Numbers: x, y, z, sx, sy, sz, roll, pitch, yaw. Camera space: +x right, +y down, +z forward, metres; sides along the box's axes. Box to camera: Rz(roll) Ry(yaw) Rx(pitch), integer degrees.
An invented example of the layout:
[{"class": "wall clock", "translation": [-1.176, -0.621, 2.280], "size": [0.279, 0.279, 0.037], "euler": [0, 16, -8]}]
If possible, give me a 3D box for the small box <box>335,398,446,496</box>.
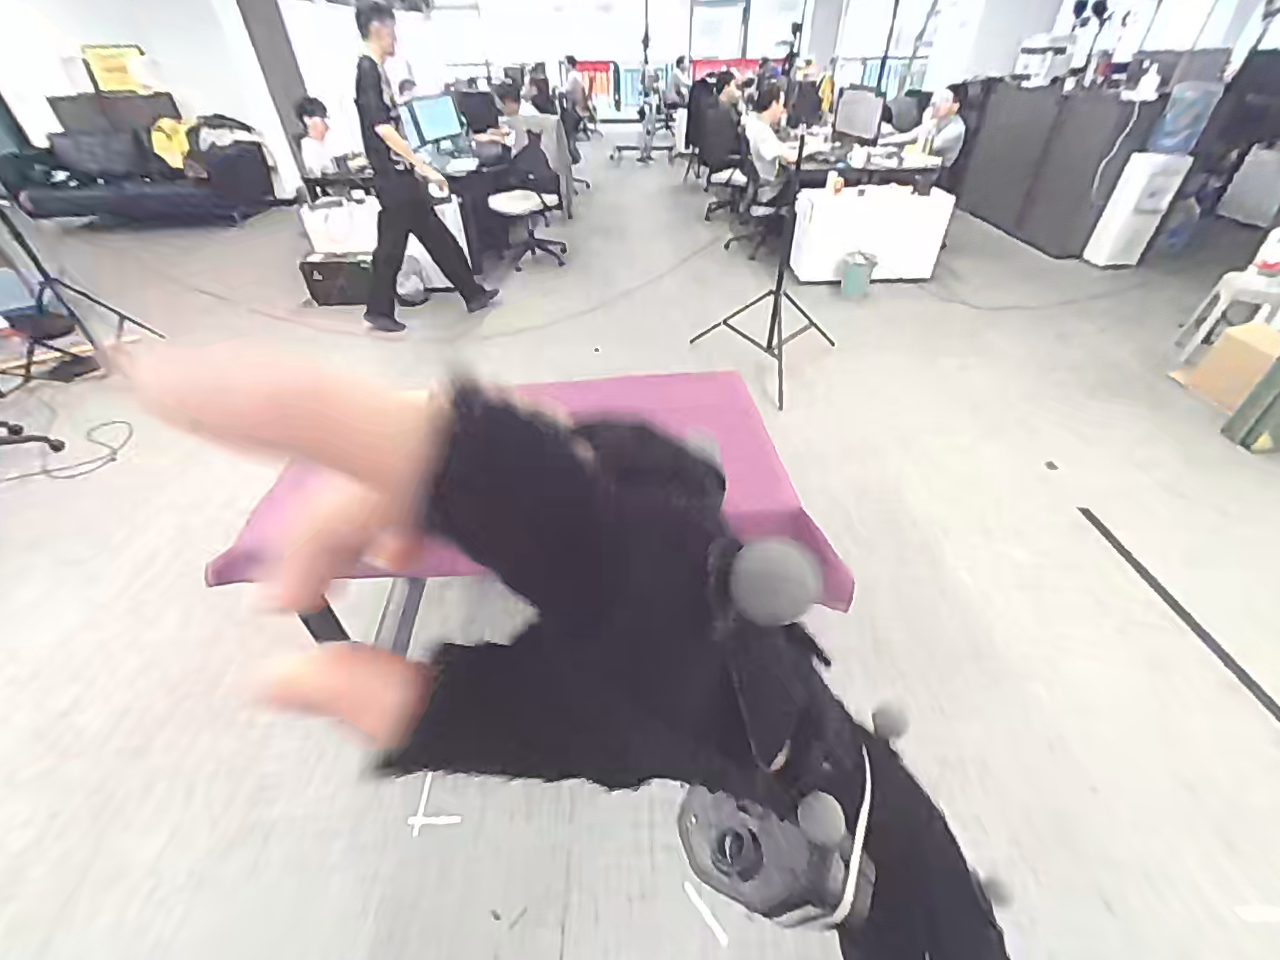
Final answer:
[{"class": "small box", "translation": [-0.571, -0.077, 1.268], "size": [0.179, 0.176, 0.168], "euler": [-3, 39, -4]}]
